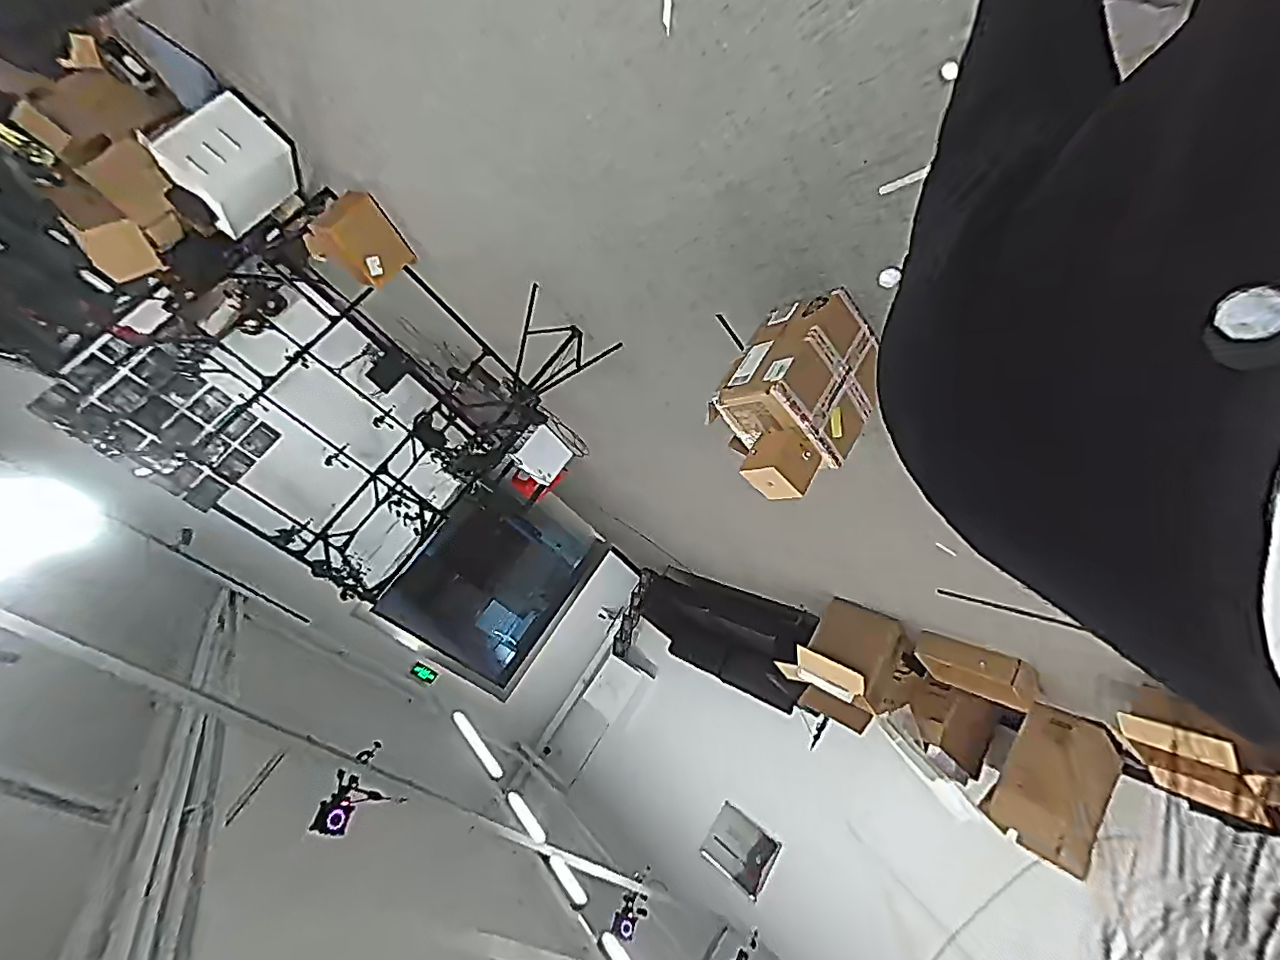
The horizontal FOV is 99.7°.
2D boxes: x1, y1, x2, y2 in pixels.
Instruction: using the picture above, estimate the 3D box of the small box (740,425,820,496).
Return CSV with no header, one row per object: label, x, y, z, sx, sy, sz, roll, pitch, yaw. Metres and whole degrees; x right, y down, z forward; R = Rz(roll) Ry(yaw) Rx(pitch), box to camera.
small box,0.481,-0.064,1.848,0.168,0.176,0.179,40,157,-19
